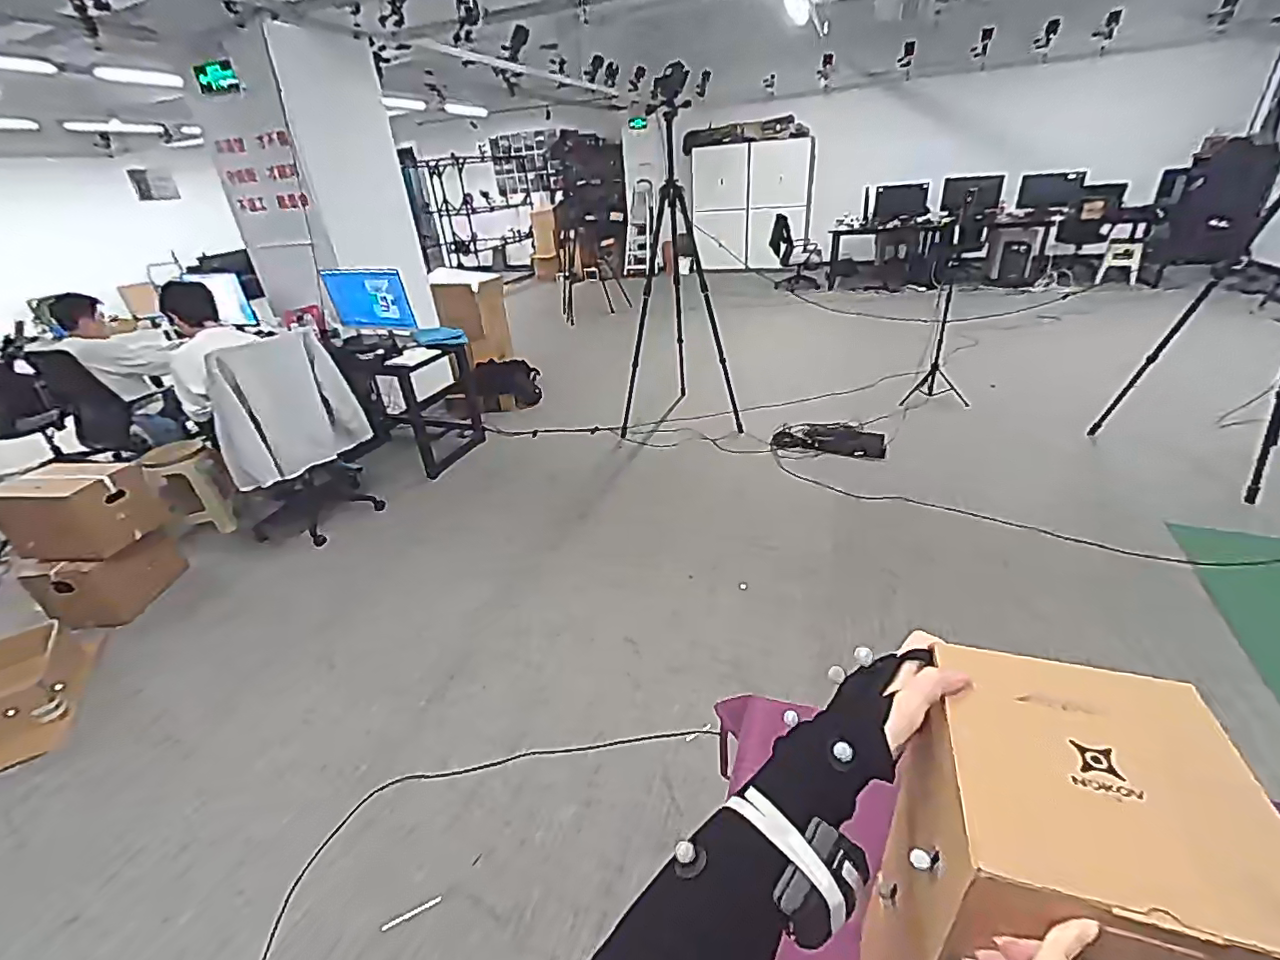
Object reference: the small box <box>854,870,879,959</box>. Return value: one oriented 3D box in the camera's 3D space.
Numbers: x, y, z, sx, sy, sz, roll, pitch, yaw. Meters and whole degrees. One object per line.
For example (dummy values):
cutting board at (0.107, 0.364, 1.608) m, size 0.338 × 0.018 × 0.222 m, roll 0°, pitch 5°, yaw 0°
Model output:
small box at (0.304, 0.541, 0.528) m, size 0.168 × 0.176 × 0.179 m, roll 8°, pitch 32°, yaw 19°

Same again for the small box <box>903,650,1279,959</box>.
small box at (0.287, 0.253, 0.371) m, size 0.168 × 0.176 × 0.179 m, roll 7°, pitch 30°, yaw 18°

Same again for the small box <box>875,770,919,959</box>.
small box at (0.298, 0.394, 0.453) m, size 0.168 × 0.176 × 0.179 m, roll 8°, pitch 30°, yaw 20°
